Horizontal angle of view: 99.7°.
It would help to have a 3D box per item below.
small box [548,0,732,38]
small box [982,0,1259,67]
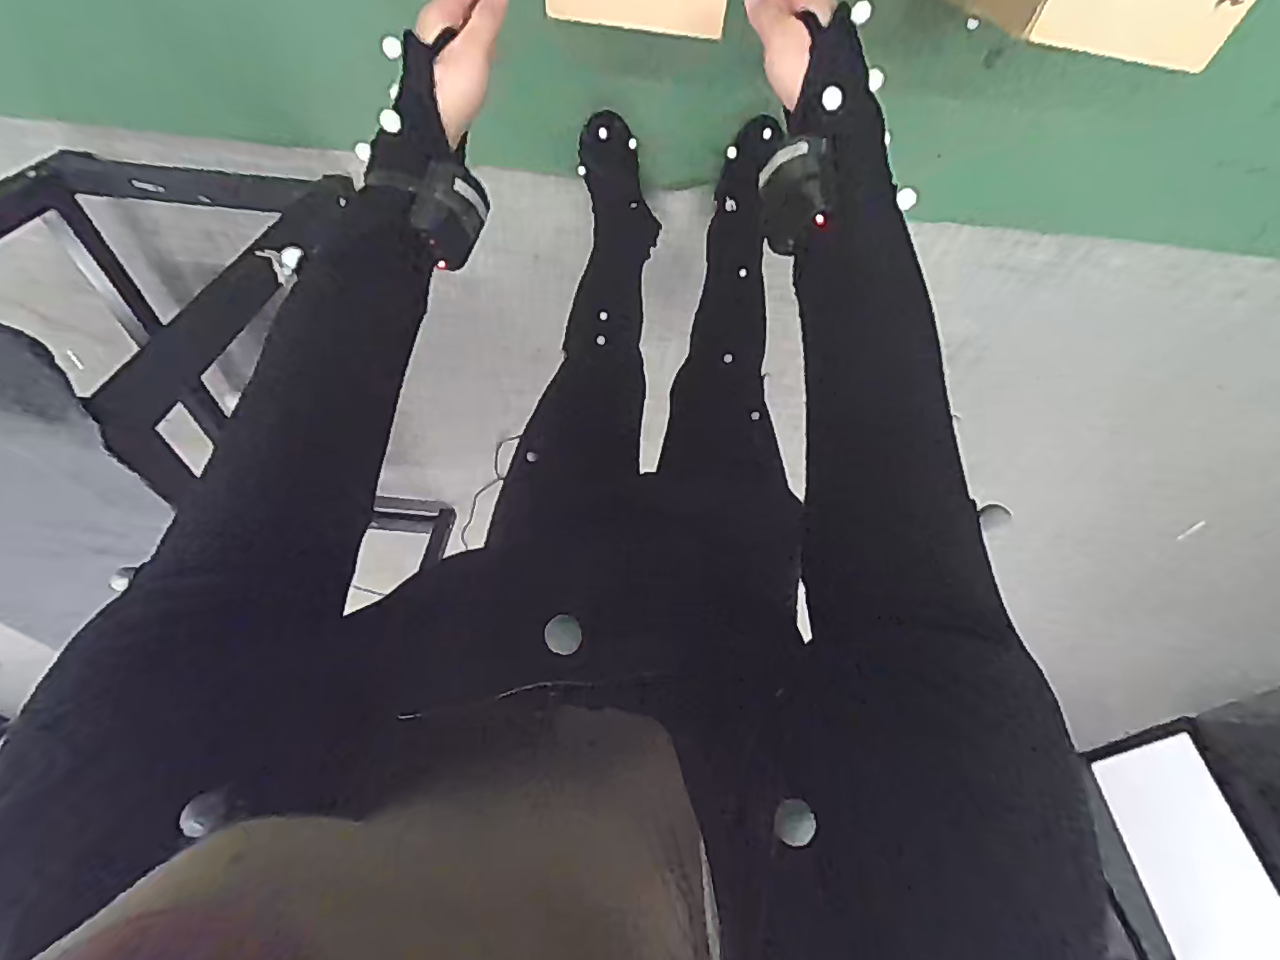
[{"bbox_3d":[0.010,-0.530,0.477,0.168,0.176,0.179,6,141,-2],"label":"small box"},{"bbox_3d":[0.448,-0.500,0.478,0.179,0.176,0.168,8,140,-4],"label":"small box"}]
